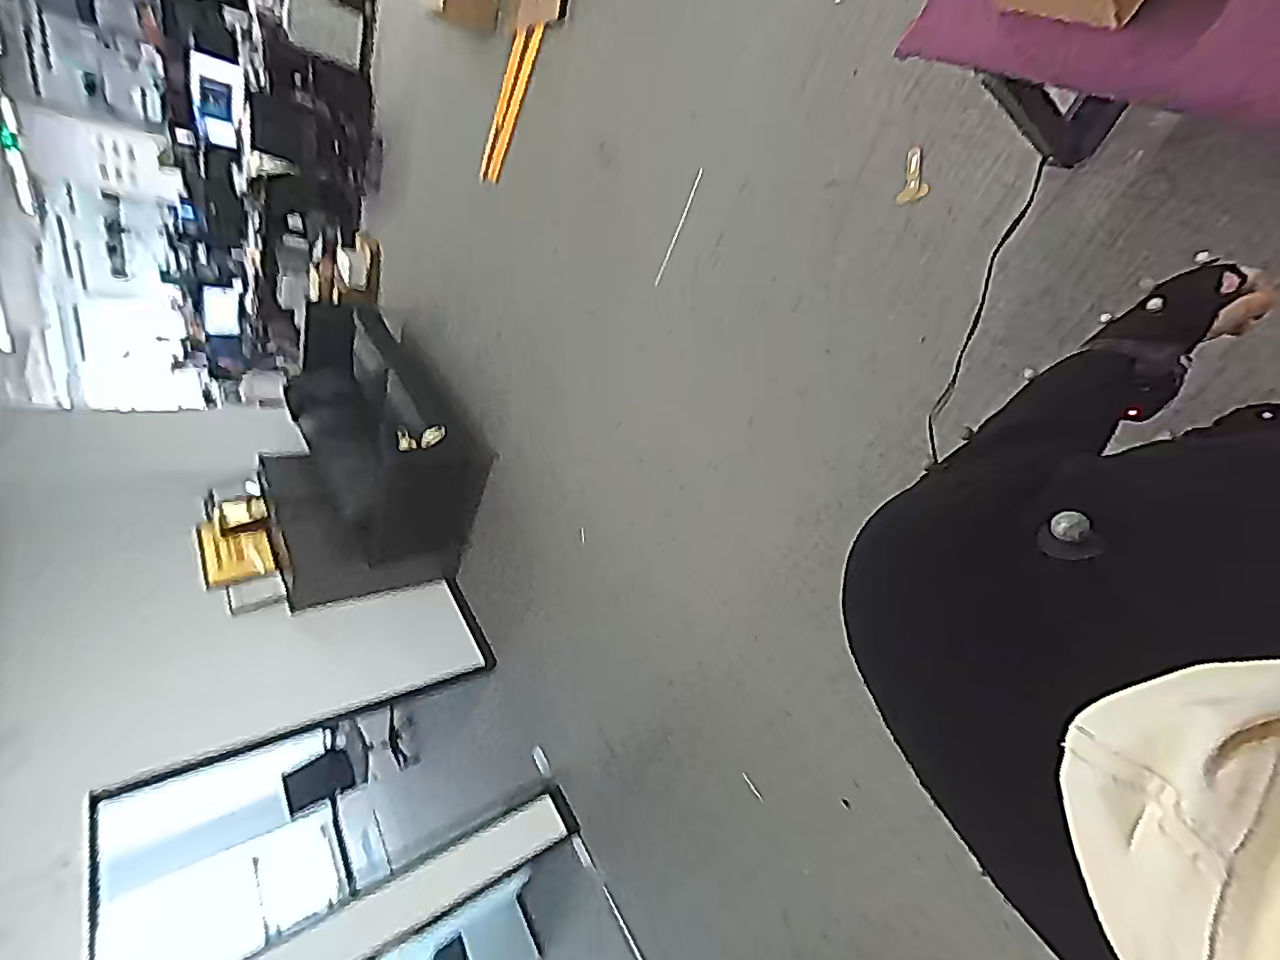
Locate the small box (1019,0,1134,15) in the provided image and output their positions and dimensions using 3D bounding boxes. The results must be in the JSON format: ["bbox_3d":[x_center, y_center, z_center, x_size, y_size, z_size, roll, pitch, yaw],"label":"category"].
[{"bbox_3d":[0.527,-0.687,0.628,0.179,0.176,0.168,49,127,32],"label":"small box"}]
